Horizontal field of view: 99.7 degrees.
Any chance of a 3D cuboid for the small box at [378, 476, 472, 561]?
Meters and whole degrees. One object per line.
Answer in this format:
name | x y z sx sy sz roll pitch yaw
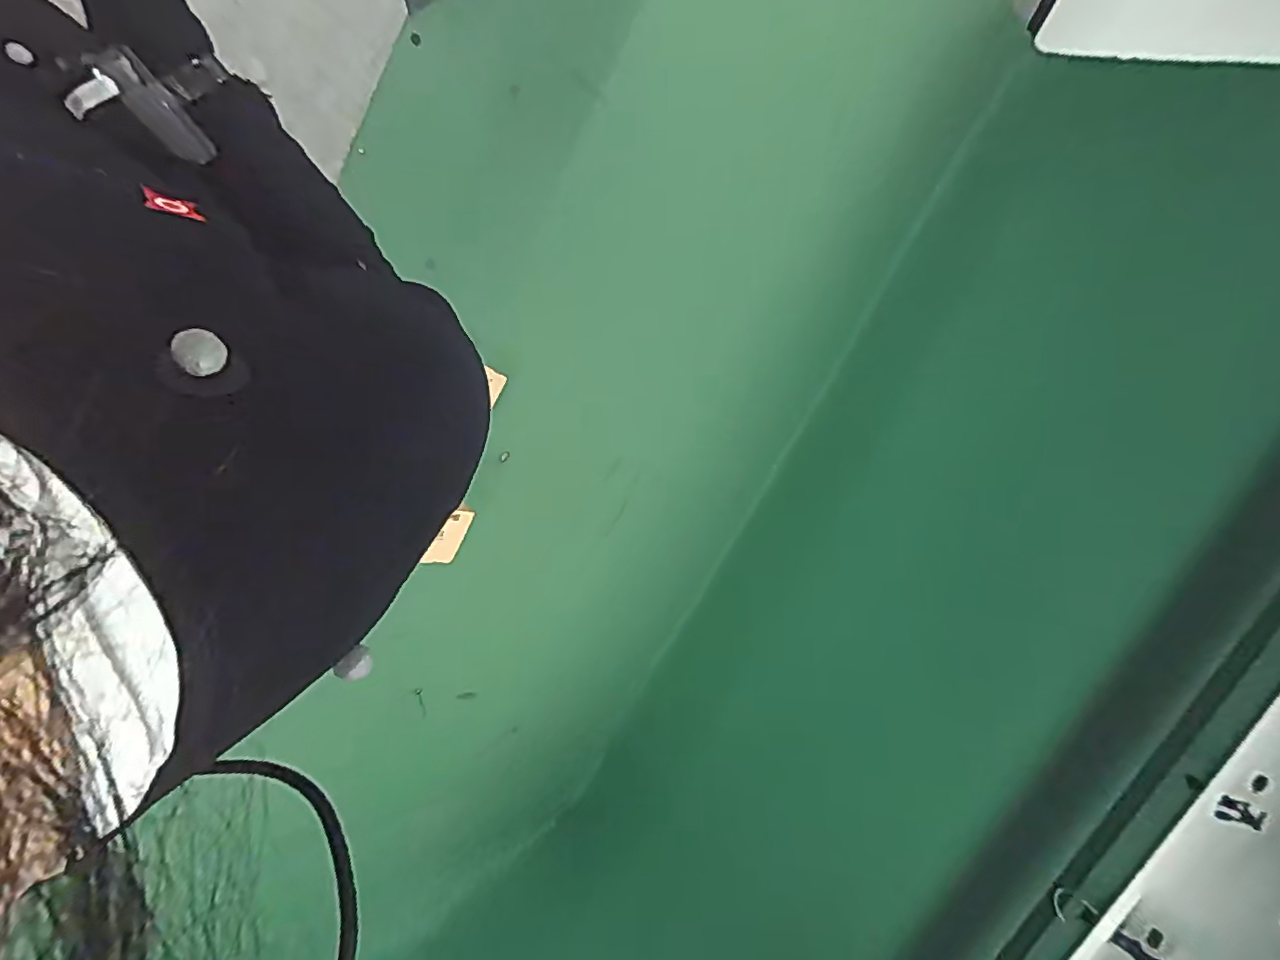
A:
small box | -0.630 0.113 1.567 0.168 0.176 0.179 17 105 -56
